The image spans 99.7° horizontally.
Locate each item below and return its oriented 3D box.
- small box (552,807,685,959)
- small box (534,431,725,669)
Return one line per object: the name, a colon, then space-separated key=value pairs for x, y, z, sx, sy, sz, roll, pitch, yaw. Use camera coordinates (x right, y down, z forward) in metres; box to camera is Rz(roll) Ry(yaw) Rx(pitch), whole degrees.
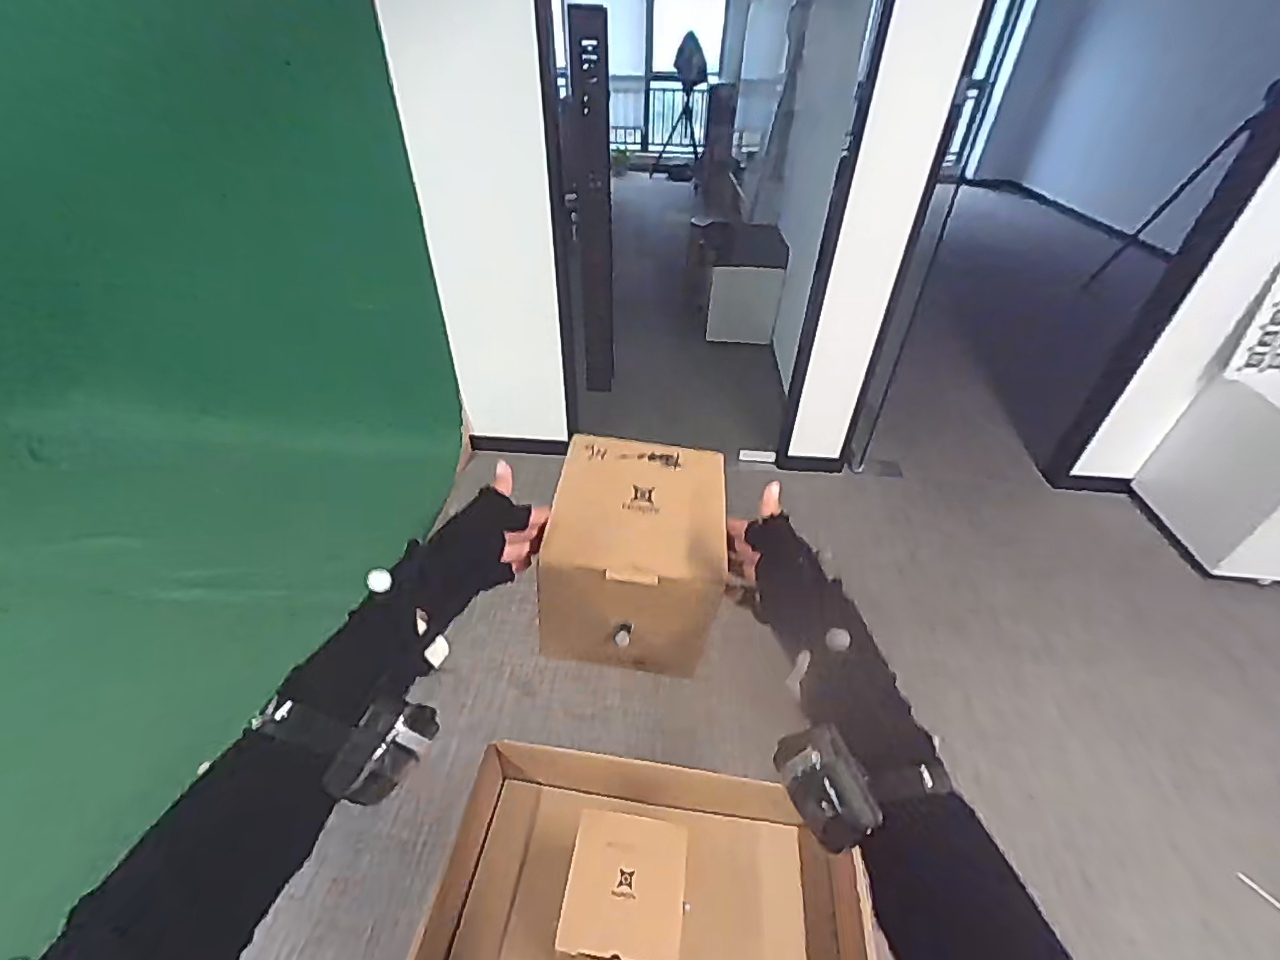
small box: x=-0.027 y=0.630 z=0.809 sx=0.168 sy=0.176 sz=0.179 roll=8 pitch=37 yaw=3
small box: x=-0.008 y=0.076 z=0.569 sx=0.168 sy=0.176 sz=0.179 roll=8 pitch=44 yaw=-1
